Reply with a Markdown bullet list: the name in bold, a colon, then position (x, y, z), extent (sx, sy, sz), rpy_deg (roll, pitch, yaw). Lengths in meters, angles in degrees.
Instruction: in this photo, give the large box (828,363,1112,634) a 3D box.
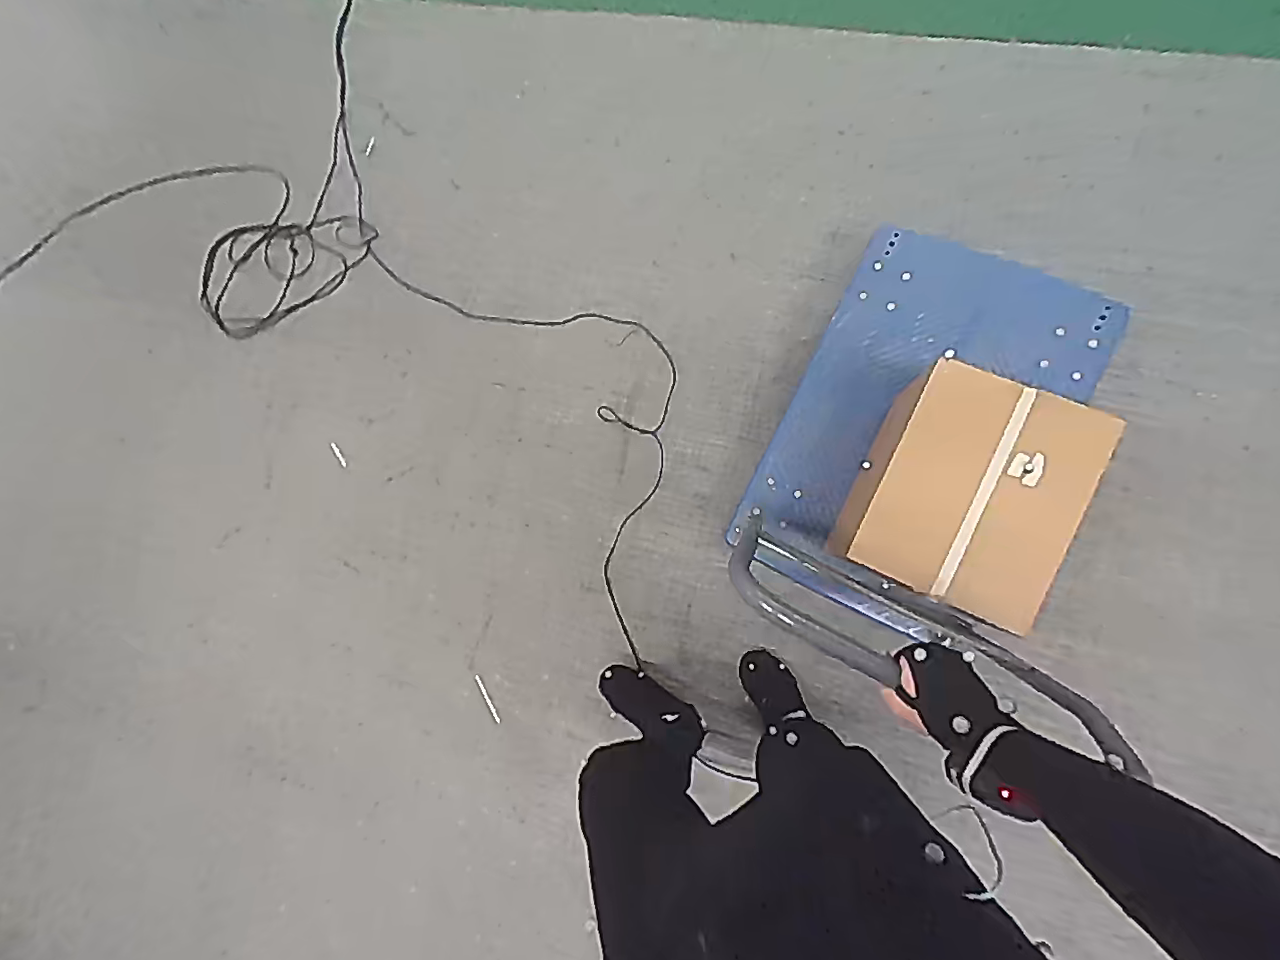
- **large box**: position (0.621, 0.043, 1.095), extent (0.320, 0.320, 0.408), rpy_deg (25, 89, 12)
